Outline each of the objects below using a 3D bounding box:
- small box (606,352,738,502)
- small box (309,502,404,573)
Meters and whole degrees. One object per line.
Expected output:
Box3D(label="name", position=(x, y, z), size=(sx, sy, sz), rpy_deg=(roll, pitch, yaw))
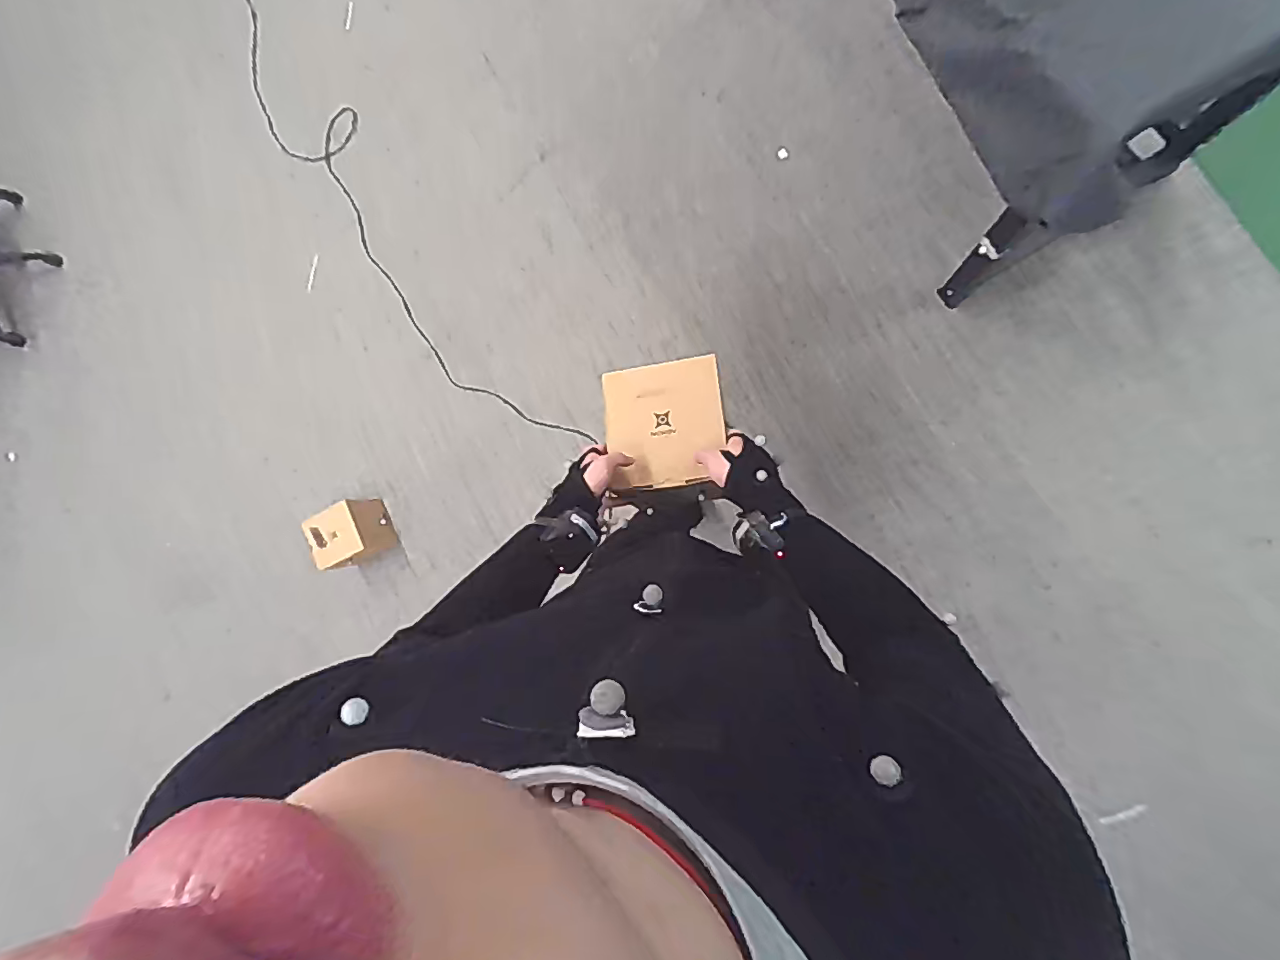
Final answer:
Box3D(label="small box", position=(0.055, -0.067, 0.816), size=(0.168, 0.176, 0.179), rpy_deg=(-8, 75, 11))
Box3D(label="small box", position=(-0.895, 0.180, 1.718), size=(0.179, 0.176, 0.168), rpy_deg=(-26, 83, 10))
